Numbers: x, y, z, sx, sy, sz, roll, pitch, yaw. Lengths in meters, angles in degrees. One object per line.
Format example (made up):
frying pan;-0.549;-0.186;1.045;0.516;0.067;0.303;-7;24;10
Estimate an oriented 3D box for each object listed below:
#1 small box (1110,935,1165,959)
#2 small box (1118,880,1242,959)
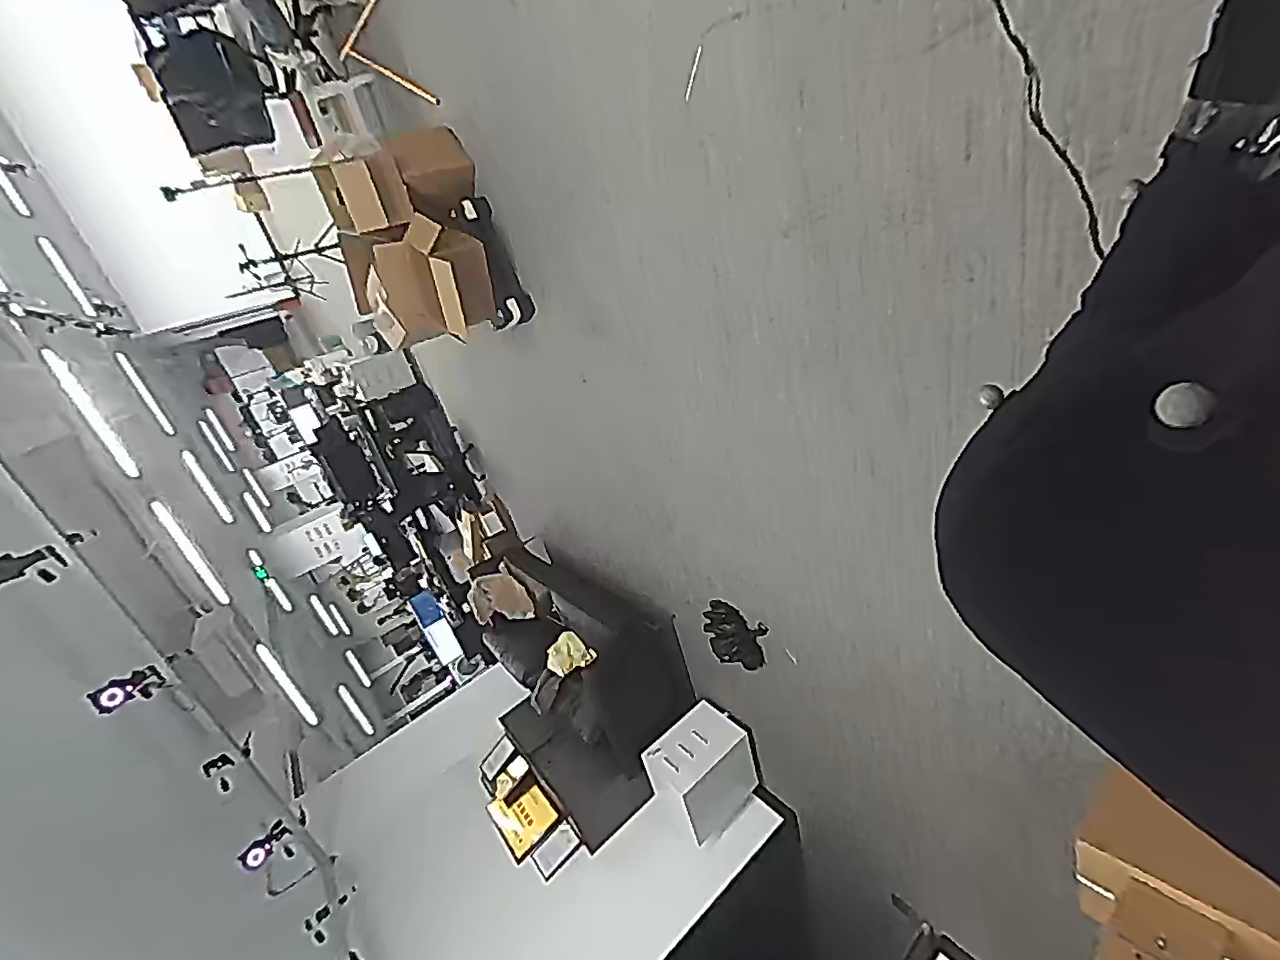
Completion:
small box;1.122;1.159;1.172;0.168;0.176;0.179;10;123;55
small box;1.247;1.090;1.251;0.179;0.176;0.168;12;125;56
